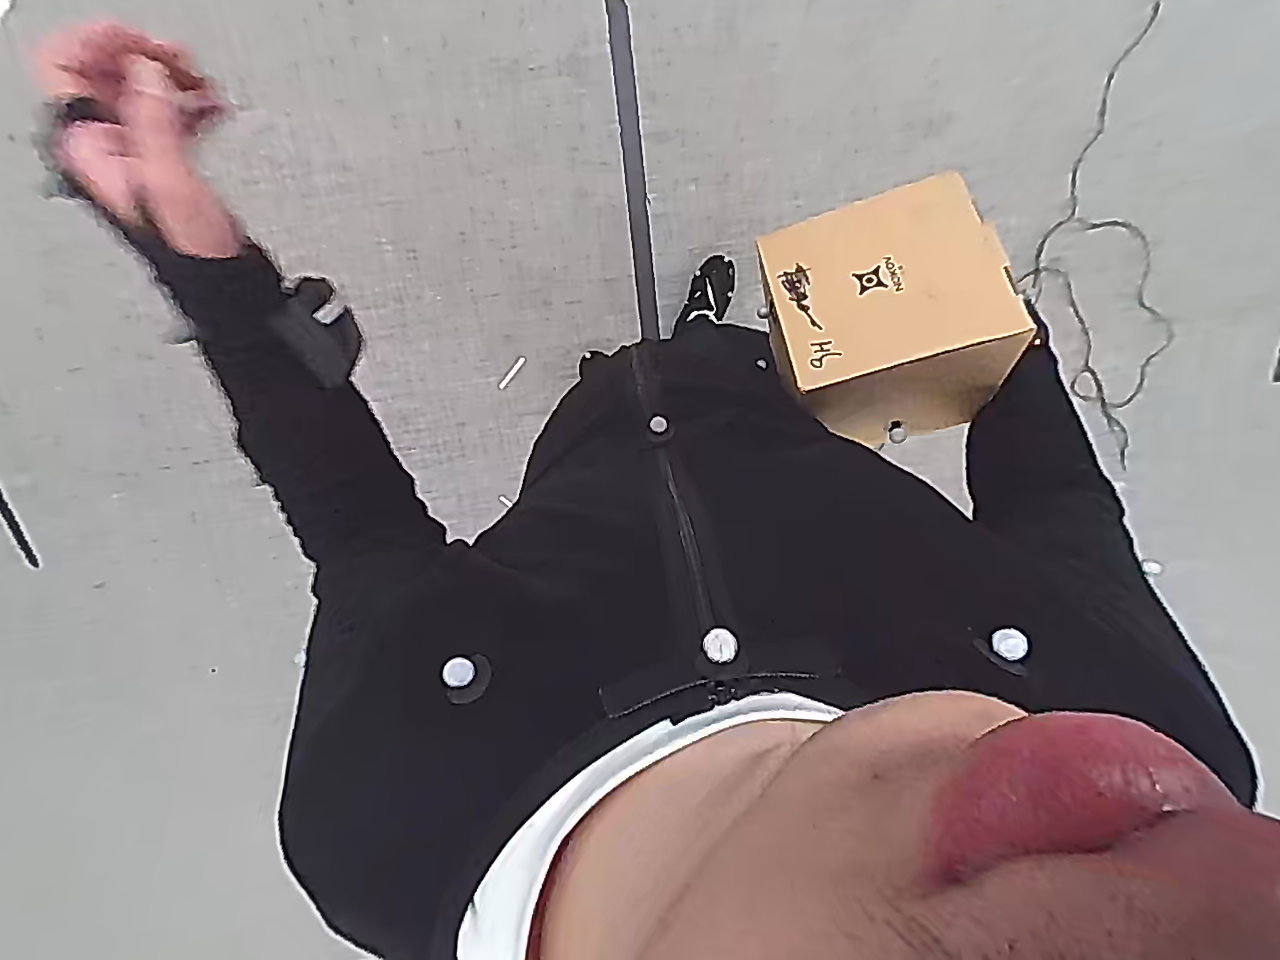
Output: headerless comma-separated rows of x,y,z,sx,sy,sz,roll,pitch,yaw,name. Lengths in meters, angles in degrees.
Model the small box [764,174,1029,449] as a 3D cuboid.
0.230,-0.149,0.533,0.179,0.176,0.168,-14,68,13,small box
